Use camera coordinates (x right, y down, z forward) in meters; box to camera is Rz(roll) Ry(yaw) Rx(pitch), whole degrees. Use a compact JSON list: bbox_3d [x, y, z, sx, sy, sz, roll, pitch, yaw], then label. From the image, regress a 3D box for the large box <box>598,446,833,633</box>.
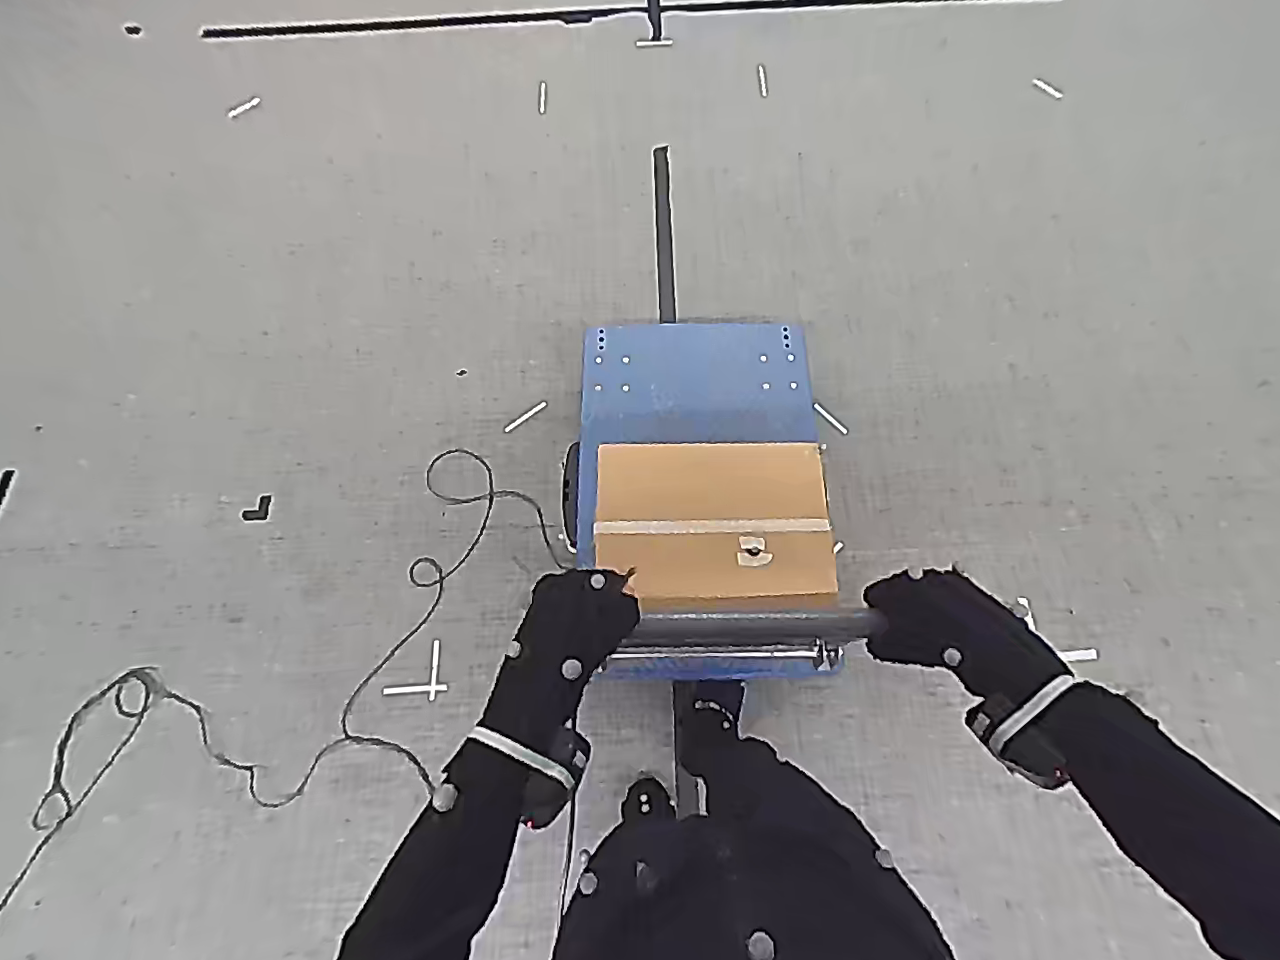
[{"bbox_3d":[0.124,0.135,1.096,0.408,0.320,0.320,-1,71,0],"label":"large box"}]
